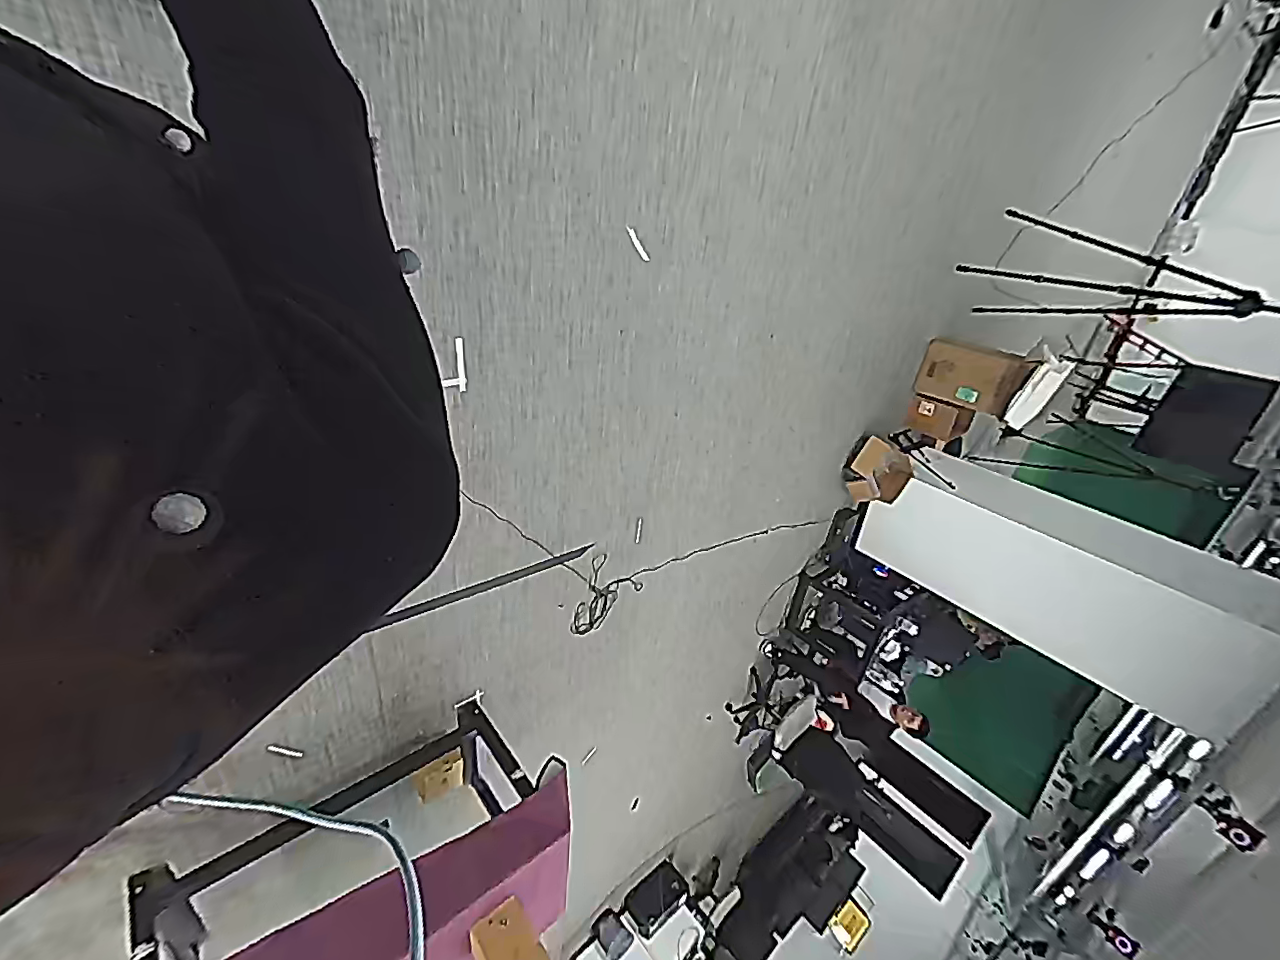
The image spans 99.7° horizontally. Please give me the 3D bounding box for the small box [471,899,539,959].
[{"bbox_3d":[-0.456,1.575,1.822,0.168,0.176,0.179,-17,125,-38],"label":"small box"}]
